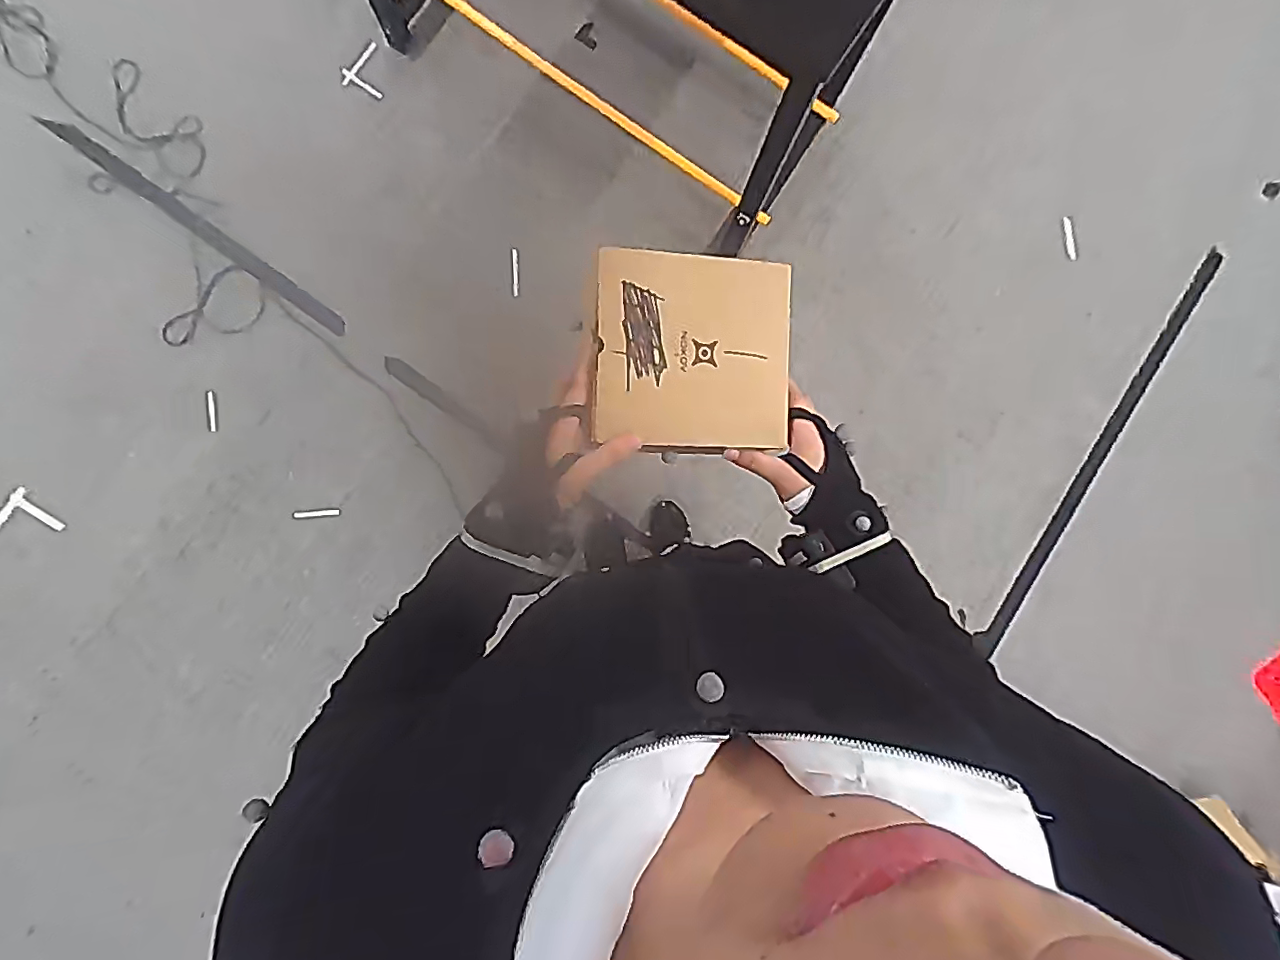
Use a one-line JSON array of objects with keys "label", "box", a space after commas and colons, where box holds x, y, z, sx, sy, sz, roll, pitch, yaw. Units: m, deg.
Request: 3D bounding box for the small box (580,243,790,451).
[{"label": "small box", "box": [0.032, -0.115, 0.541, 0.179, 0.176, 0.168, 0, 91, -11]}]
